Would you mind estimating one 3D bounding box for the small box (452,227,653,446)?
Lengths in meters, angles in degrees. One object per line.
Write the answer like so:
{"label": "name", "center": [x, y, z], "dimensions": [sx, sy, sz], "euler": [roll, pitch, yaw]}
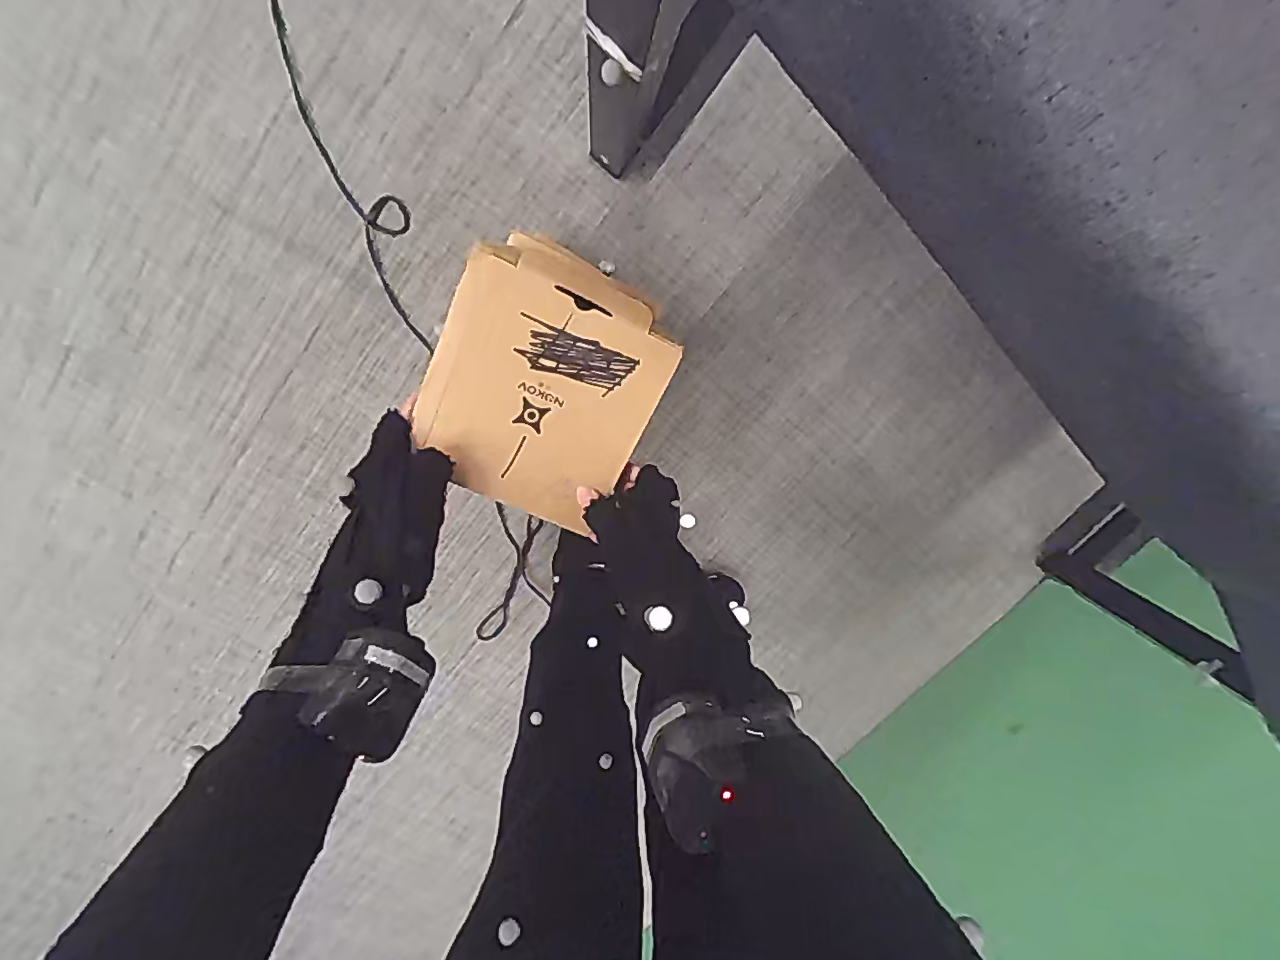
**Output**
{"label": "small box", "center": [-0.095, -0.167, 0.632], "dimensions": [0.168, 0.176, 0.179], "euler": [21, 108, -10]}
